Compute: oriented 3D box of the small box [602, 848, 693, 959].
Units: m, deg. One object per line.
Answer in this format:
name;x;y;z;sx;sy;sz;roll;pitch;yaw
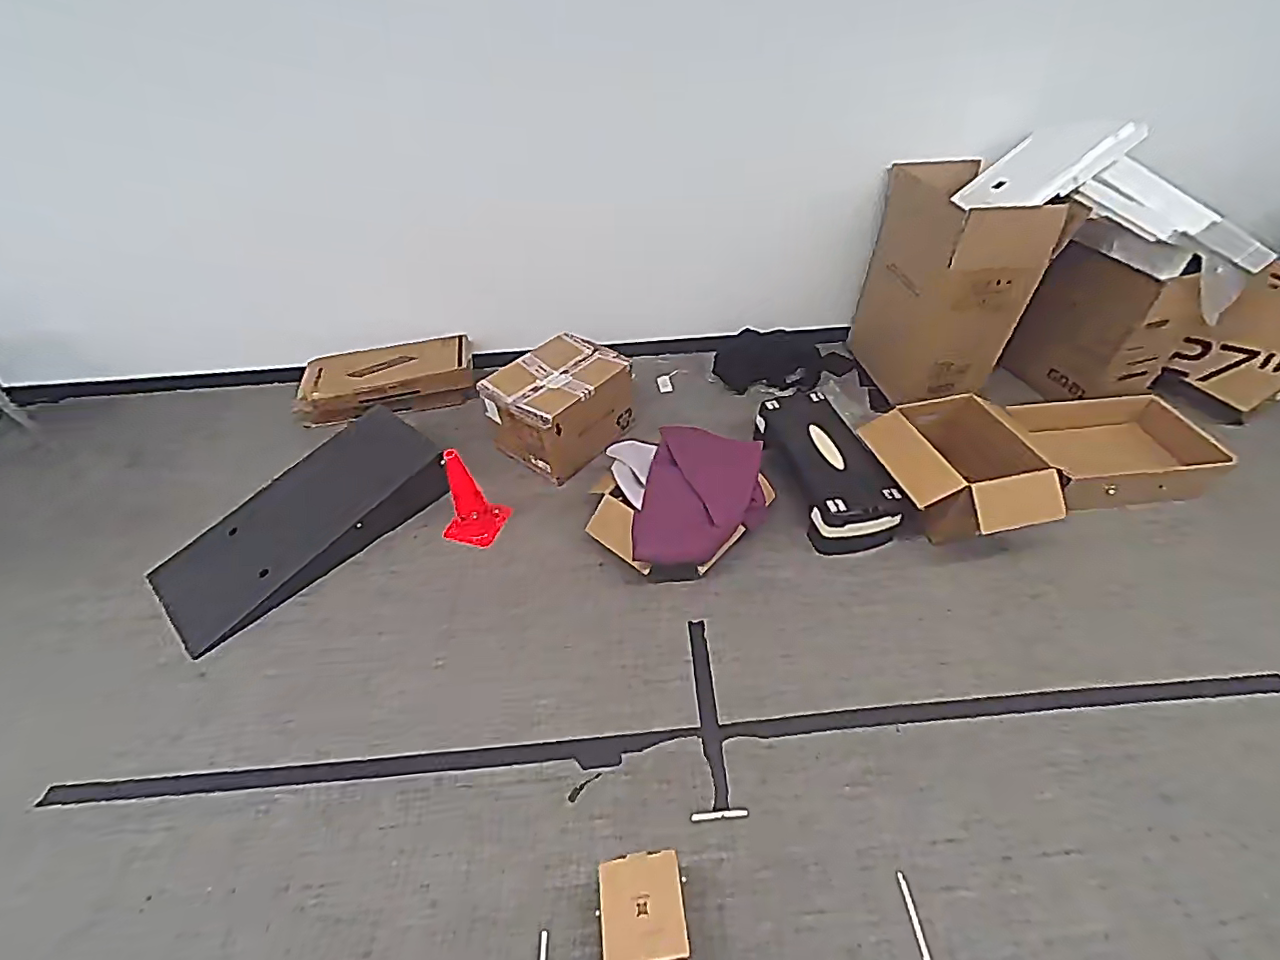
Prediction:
small box;0.013;0.898;1.127;0.168;0.176;0.179;-8;46;-2
